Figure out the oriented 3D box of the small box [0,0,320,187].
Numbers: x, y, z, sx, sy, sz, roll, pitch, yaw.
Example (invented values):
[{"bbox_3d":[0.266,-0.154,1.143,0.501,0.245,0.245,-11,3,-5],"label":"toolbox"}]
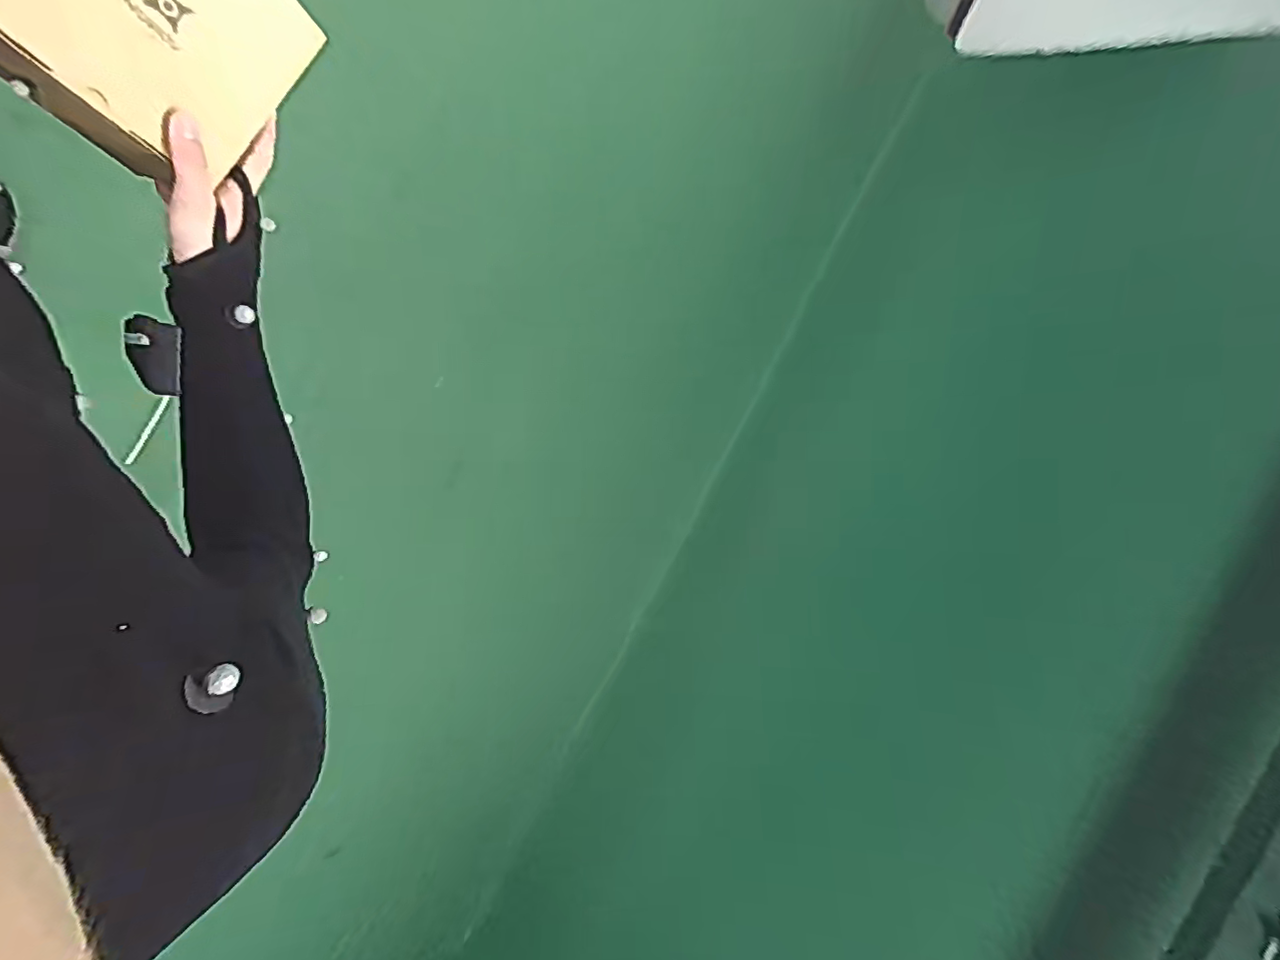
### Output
[{"bbox_3d":[-0.408,-0.372,0.422,0.179,0.176,0.168,-60,152,-6],"label":"small box"}]
